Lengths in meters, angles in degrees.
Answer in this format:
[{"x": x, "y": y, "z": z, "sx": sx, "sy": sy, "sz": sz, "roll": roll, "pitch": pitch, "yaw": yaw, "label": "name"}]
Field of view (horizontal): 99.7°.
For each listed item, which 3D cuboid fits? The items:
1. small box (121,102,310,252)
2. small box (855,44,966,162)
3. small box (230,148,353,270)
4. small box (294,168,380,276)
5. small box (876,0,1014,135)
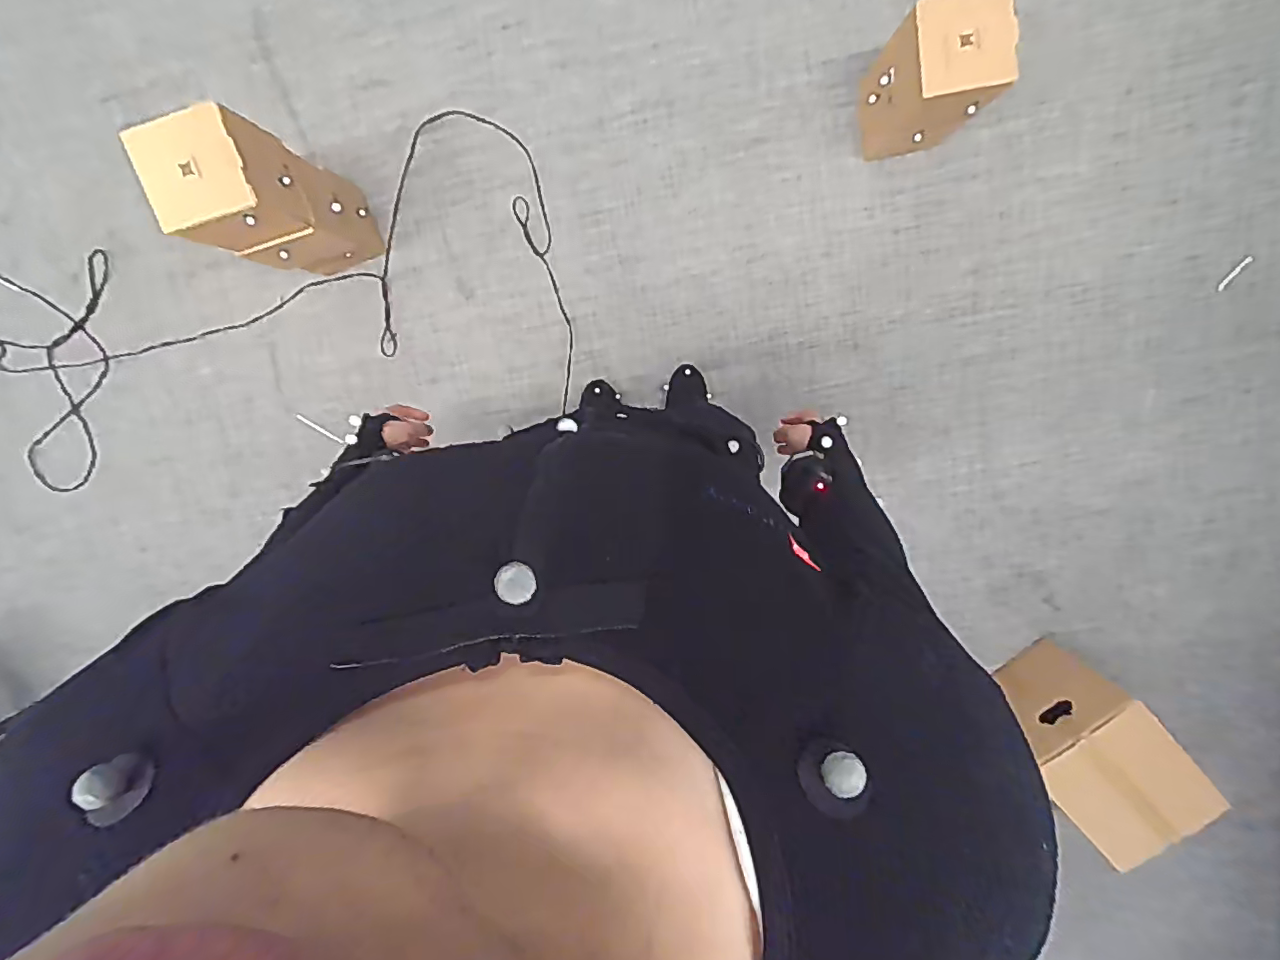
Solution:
[{"x": -0.750, "y": -0.531, "z": 0.976, "sx": 0.179, "sy": 0.176, "sz": 0.168, "roll": -17, "pitch": 101, "yaw": 3, "label": "small box"}, {"x": 0.602, "y": -0.856, "z": 1.221, "sx": 0.168, "sy": 0.176, "sz": 0.179, "roll": -10, "pitch": 101, "yaw": 3, "label": "small box"}, {"x": -0.751, "y": -0.558, "z": 1.136, "sx": 0.179, "sy": 0.176, "sz": 0.168, "roll": -16, "pitch": 102, "yaw": 3, "label": "small box"}, {"x": -0.756, "y": -0.608, "z": 1.293, "sx": 0.179, "sy": 0.176, "sz": 0.168, "roll": -19, "pitch": 100, "yaw": 5, "label": "small box"}, {"x": 0.591, "y": -0.815, "z": 1.063, "sx": 0.179, "sy": 0.176, "sz": 0.168, "roll": -10, "pitch": 100, "yaw": 4, "label": "small box"}]
